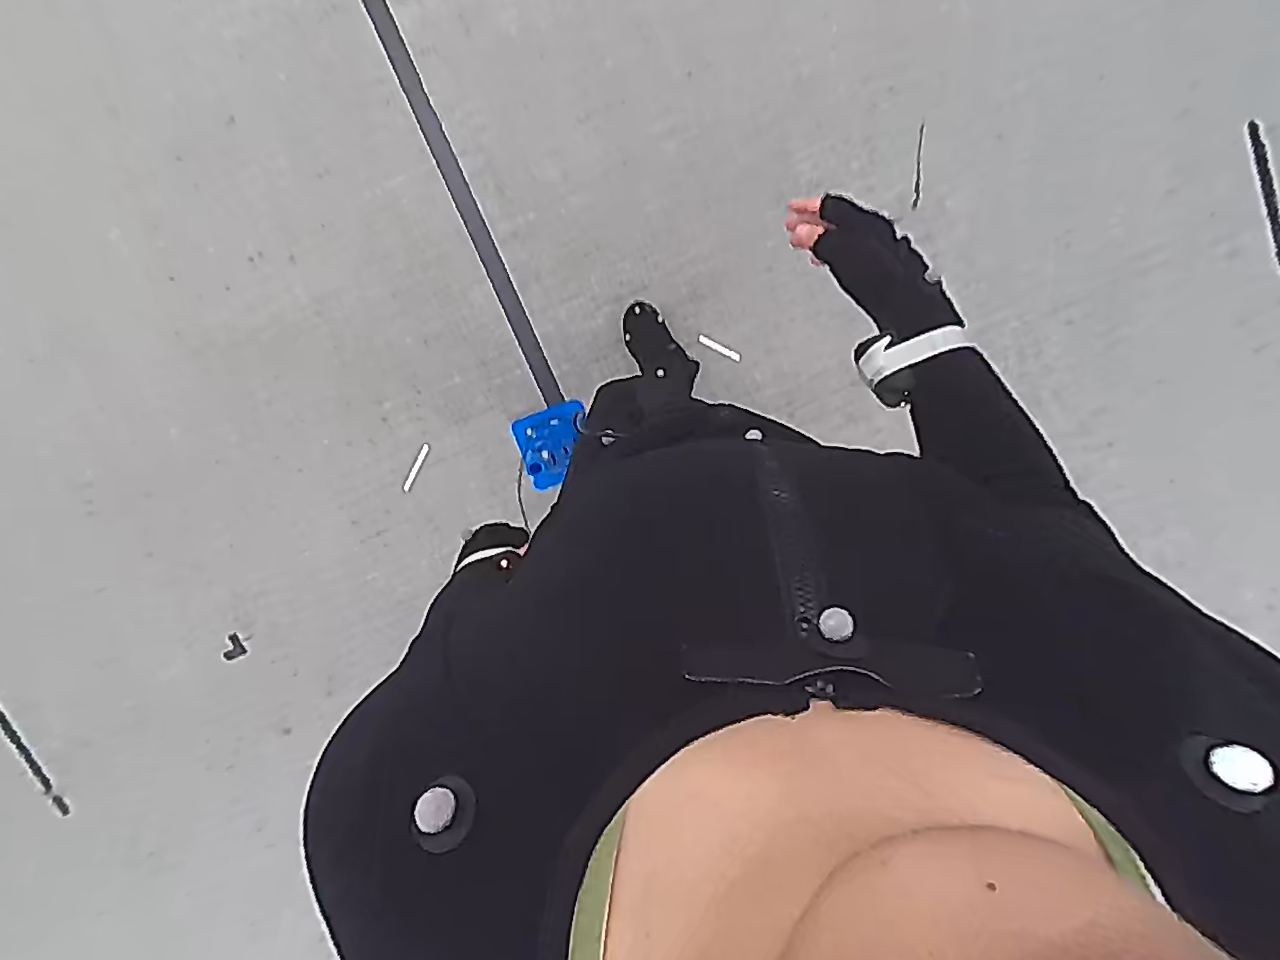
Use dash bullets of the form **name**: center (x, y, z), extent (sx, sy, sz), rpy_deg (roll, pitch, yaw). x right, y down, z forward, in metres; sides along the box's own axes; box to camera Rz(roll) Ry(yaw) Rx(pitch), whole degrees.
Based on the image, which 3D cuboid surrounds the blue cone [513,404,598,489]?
- **blue cone**: center (-0.215, -0.049, 1.249), extent (0.193, 0.380, 0.192), rpy_deg (-20, 101, 4)
